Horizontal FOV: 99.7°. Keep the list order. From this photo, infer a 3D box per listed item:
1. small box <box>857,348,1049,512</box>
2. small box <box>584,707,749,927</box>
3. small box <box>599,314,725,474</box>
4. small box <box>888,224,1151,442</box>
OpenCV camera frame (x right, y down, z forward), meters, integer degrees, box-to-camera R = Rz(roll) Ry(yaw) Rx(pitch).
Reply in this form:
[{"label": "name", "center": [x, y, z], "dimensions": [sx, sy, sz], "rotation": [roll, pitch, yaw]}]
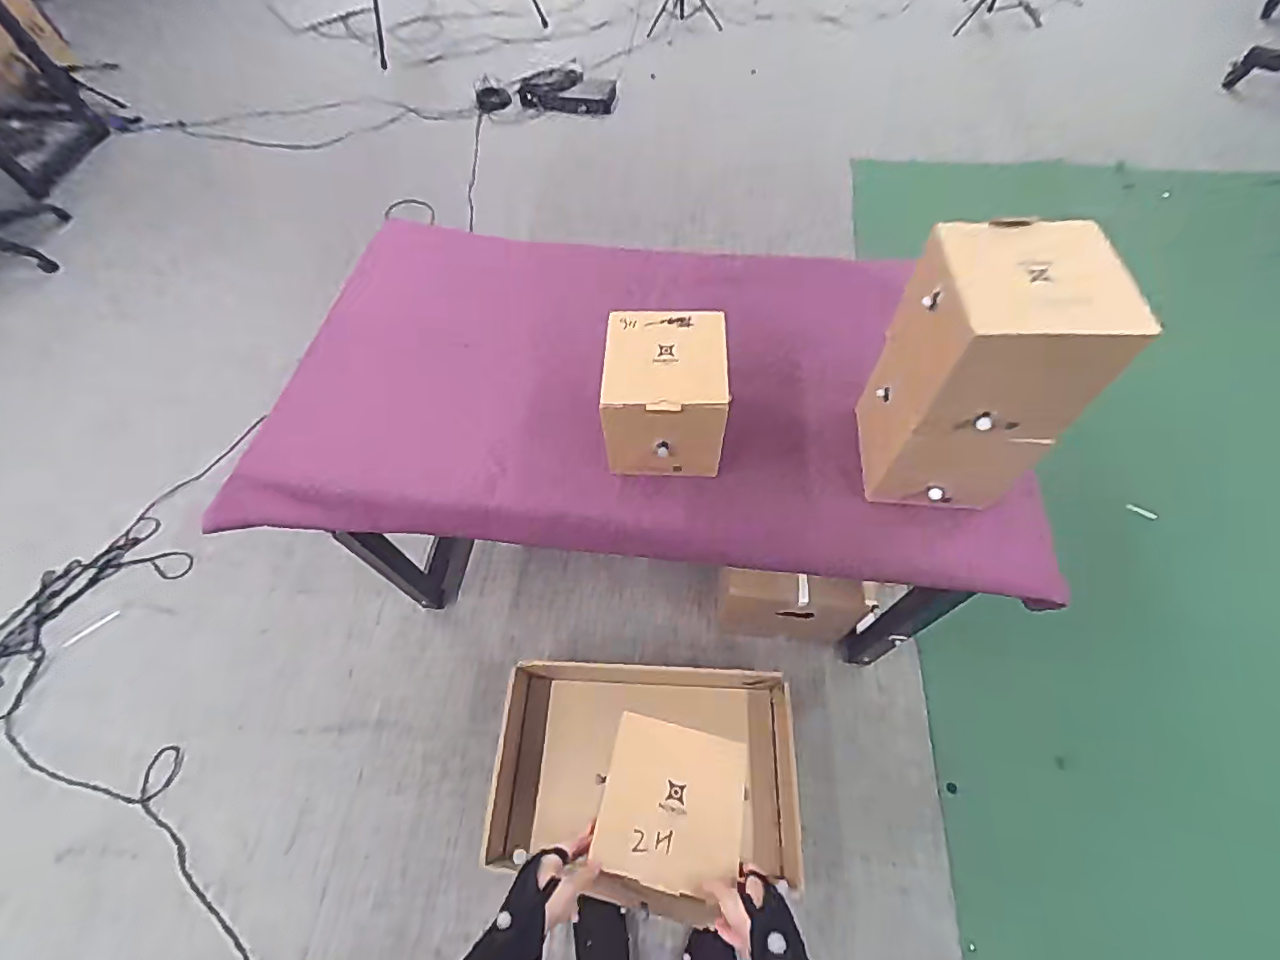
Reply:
[{"label": "small box", "center": [0.414, -0.077, 0.754], "dimensions": [0.168, 0.176, 0.179], "rotation": [4, 59, 6]}, {"label": "small box", "center": [0.031, 0.426, 0.684], "dimensions": [0.168, 0.176, 0.179], "rotation": [14, 44, 4]}, {"label": "small box", "center": [0.037, -0.121, 0.799], "dimensions": [0.168, 0.176, 0.179], "rotation": [2, 58, 3]}, {"label": "small box", "center": [0.402, -0.165, 0.617], "dimensions": [0.168, 0.176, 0.179], "rotation": [2, 58, 5]}]
